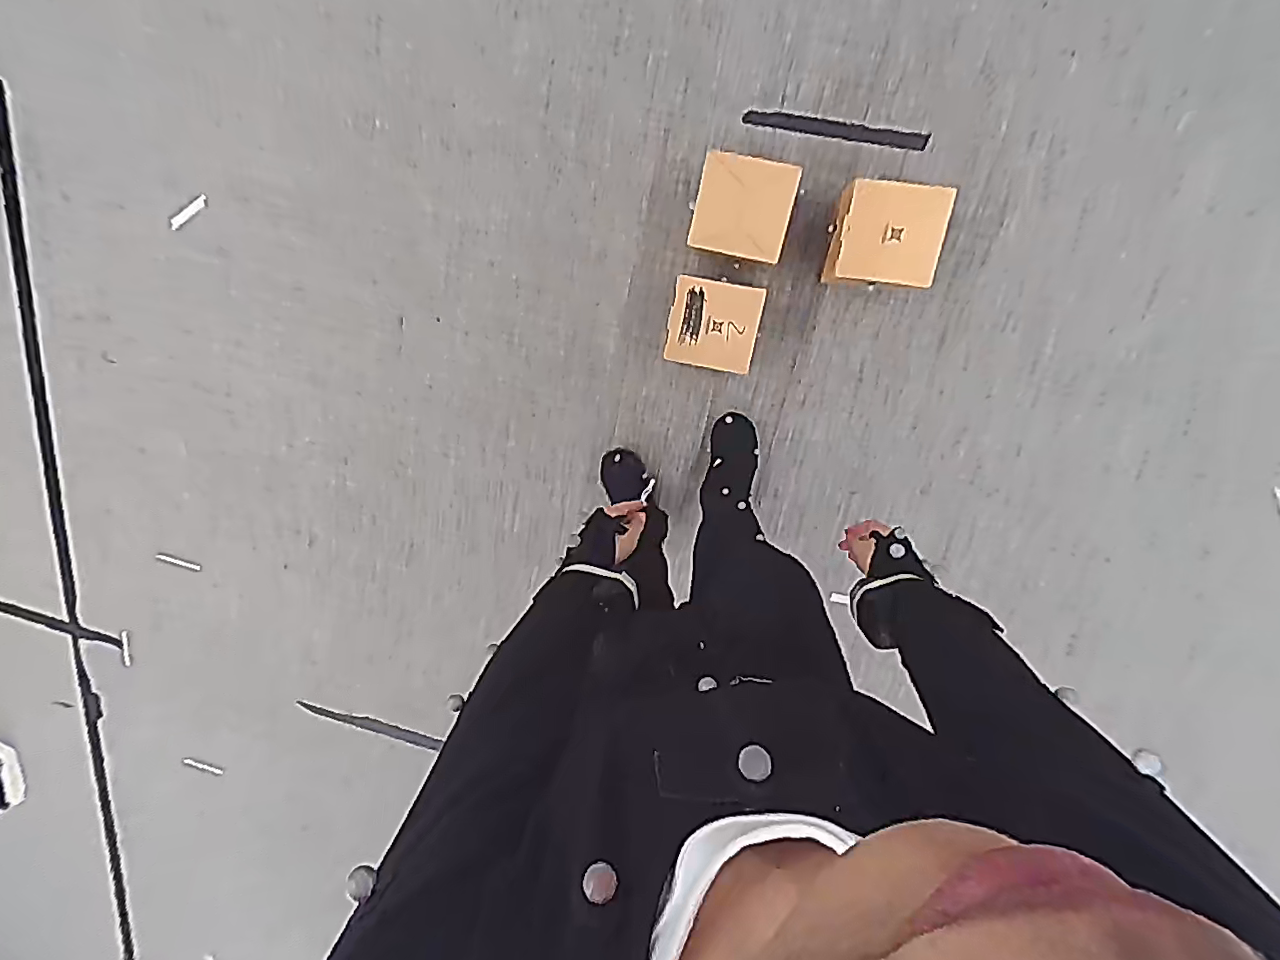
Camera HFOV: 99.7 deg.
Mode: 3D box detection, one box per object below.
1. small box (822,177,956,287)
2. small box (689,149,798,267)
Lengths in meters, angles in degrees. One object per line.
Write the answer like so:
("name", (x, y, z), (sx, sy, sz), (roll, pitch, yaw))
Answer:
("small box", (0.467, -0.469, 1.045), (0.179, 0.176, 0.168), (10, 108, 7))
("small box", (0.204, -0.528, 1.066), (0.179, 0.176, 0.168), (15, 108, 5))
